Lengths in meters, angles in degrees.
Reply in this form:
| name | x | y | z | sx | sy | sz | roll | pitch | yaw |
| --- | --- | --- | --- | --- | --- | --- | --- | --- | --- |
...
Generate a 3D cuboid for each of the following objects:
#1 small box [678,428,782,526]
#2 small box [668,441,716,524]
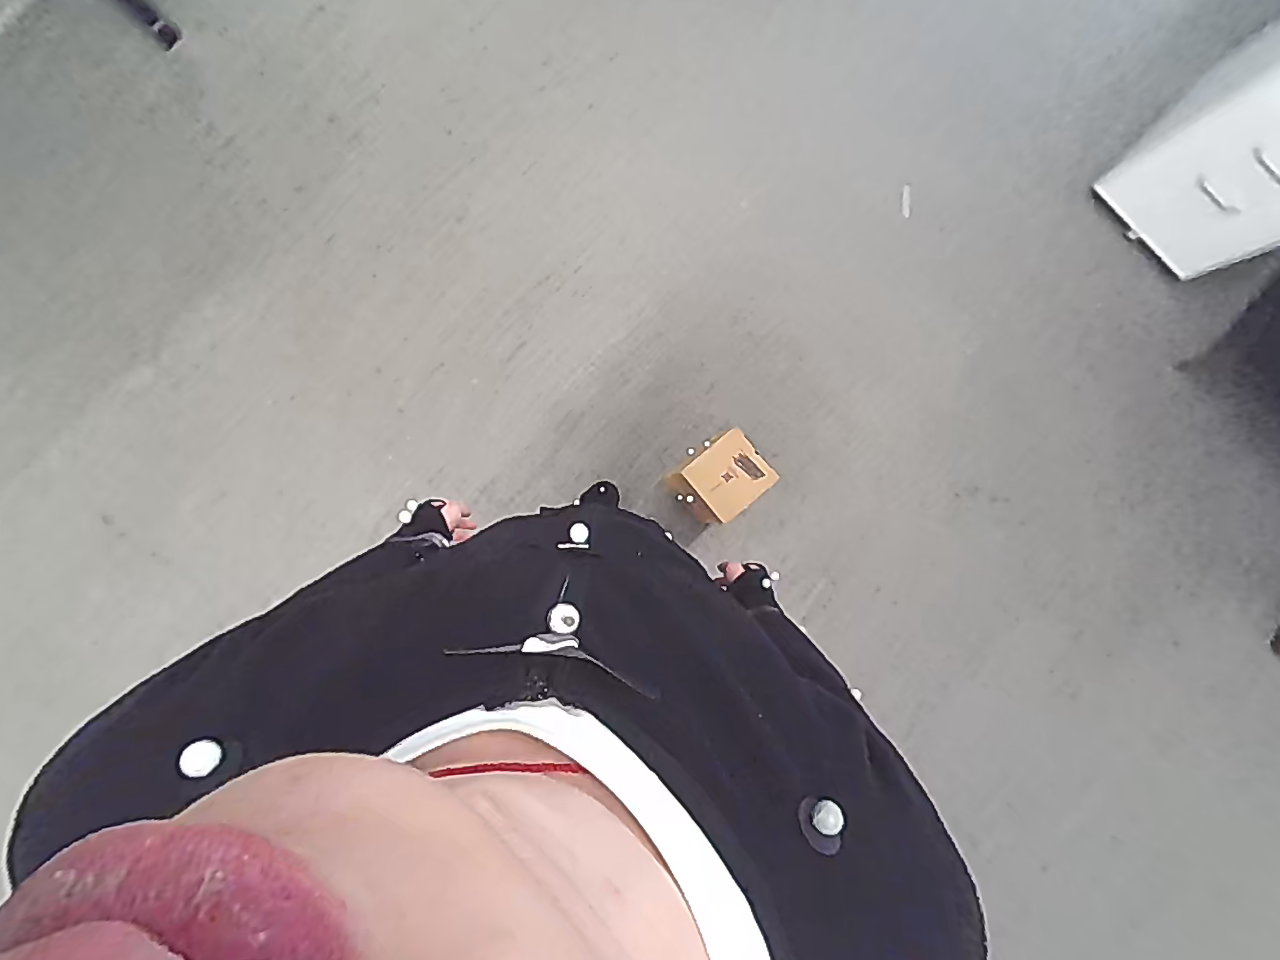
| name | x | y | z | sx | sy | sz | roll | pitch | yaw |
| --- | --- | --- | --- | --- | --- | --- | --- | --- | --- |
| small box | 0.215 | -0.006 | 1.343 | 0.179 | 0.176 | 0.168 | -39 | 91 | -3 |
| small box | 0.195 | 0.004 | 1.507 | 0.179 | 0.176 | 0.168 | -41 | 92 | -5 |
